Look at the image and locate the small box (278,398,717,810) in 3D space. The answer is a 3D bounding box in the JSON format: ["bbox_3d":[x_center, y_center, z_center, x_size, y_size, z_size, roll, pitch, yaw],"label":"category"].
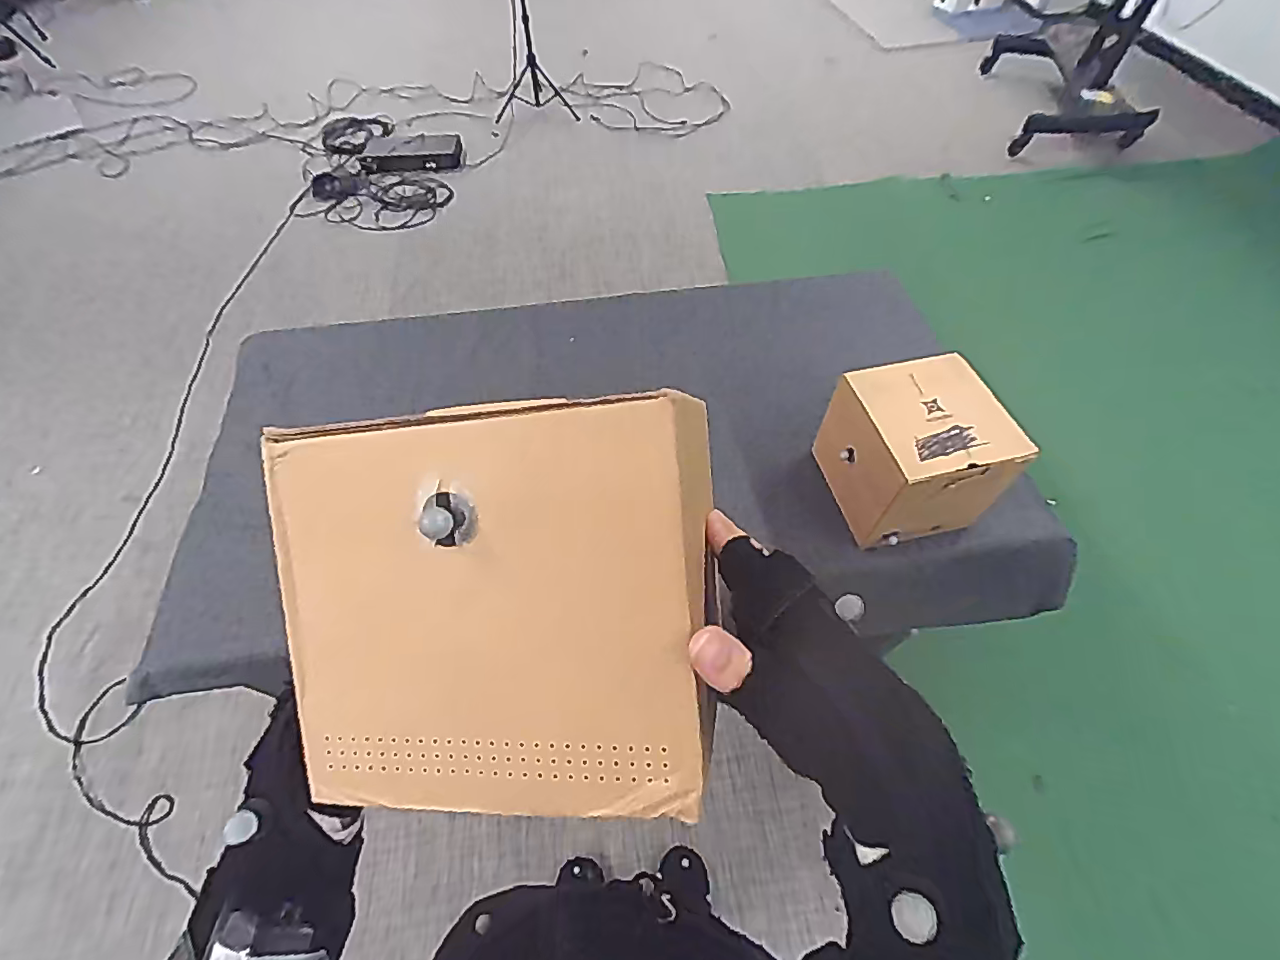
[{"bbox_3d":[-0.054,0.050,0.301,0.179,0.168,0.176,-2,96,12],"label":"small box"}]

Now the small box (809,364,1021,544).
[{"bbox_3d":[0.353,-0.027,0.735,0.168,0.176,0.179,-10,55,-6],"label":"small box"}]
